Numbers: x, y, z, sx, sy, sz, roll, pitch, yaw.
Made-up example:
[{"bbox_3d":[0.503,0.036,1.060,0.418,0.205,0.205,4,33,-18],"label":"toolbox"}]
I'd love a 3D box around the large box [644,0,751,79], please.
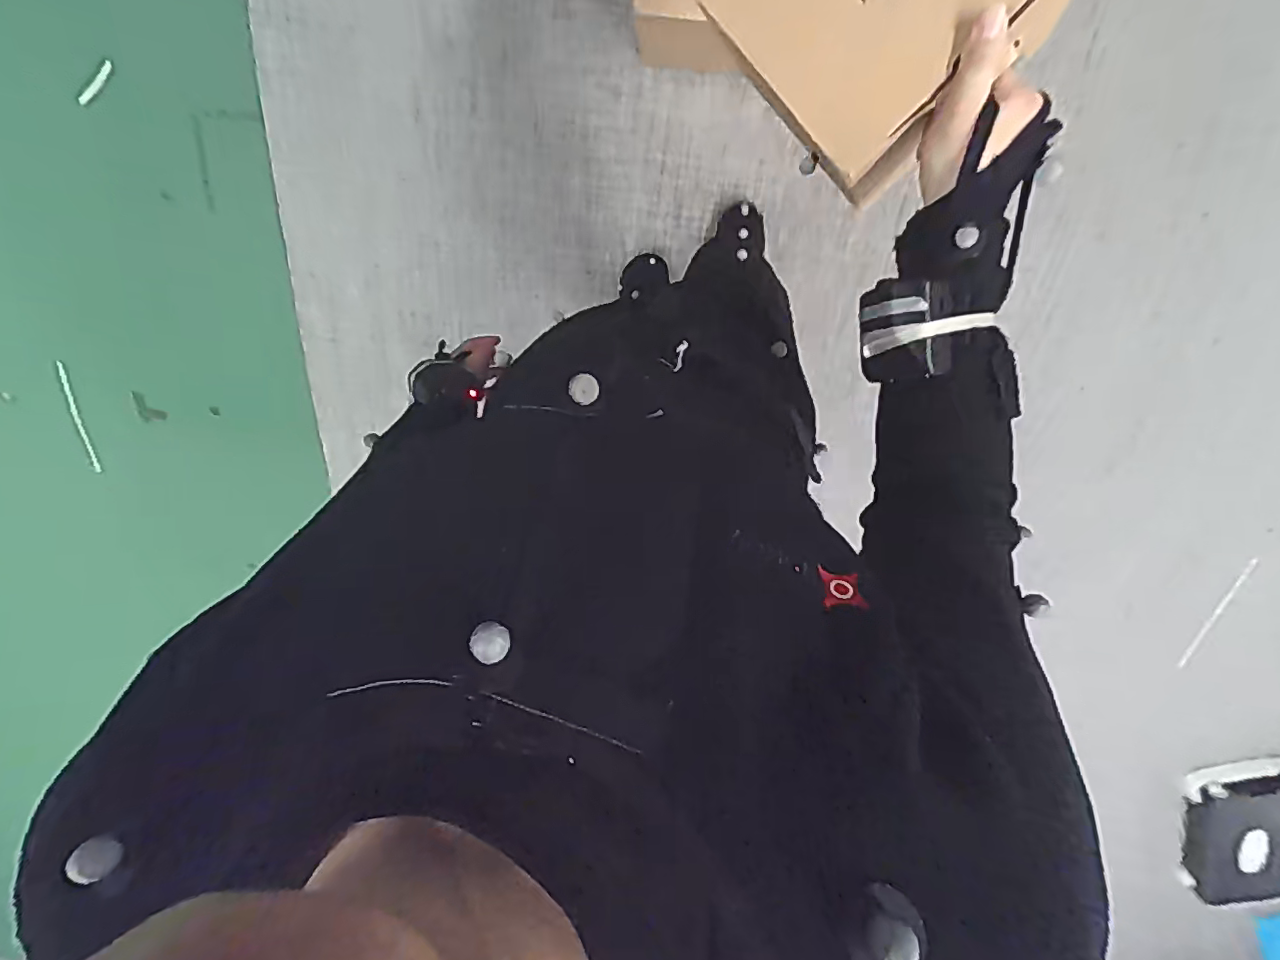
[{"bbox_3d":[0.217,-0.843,0.841,0.408,0.320,0.320,6,117,-1],"label":"large box"}]

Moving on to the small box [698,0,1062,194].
[{"bbox_3d":[0.171,-0.333,0.383,0.168,0.176,0.179,-41,88,29],"label":"small box"}]
